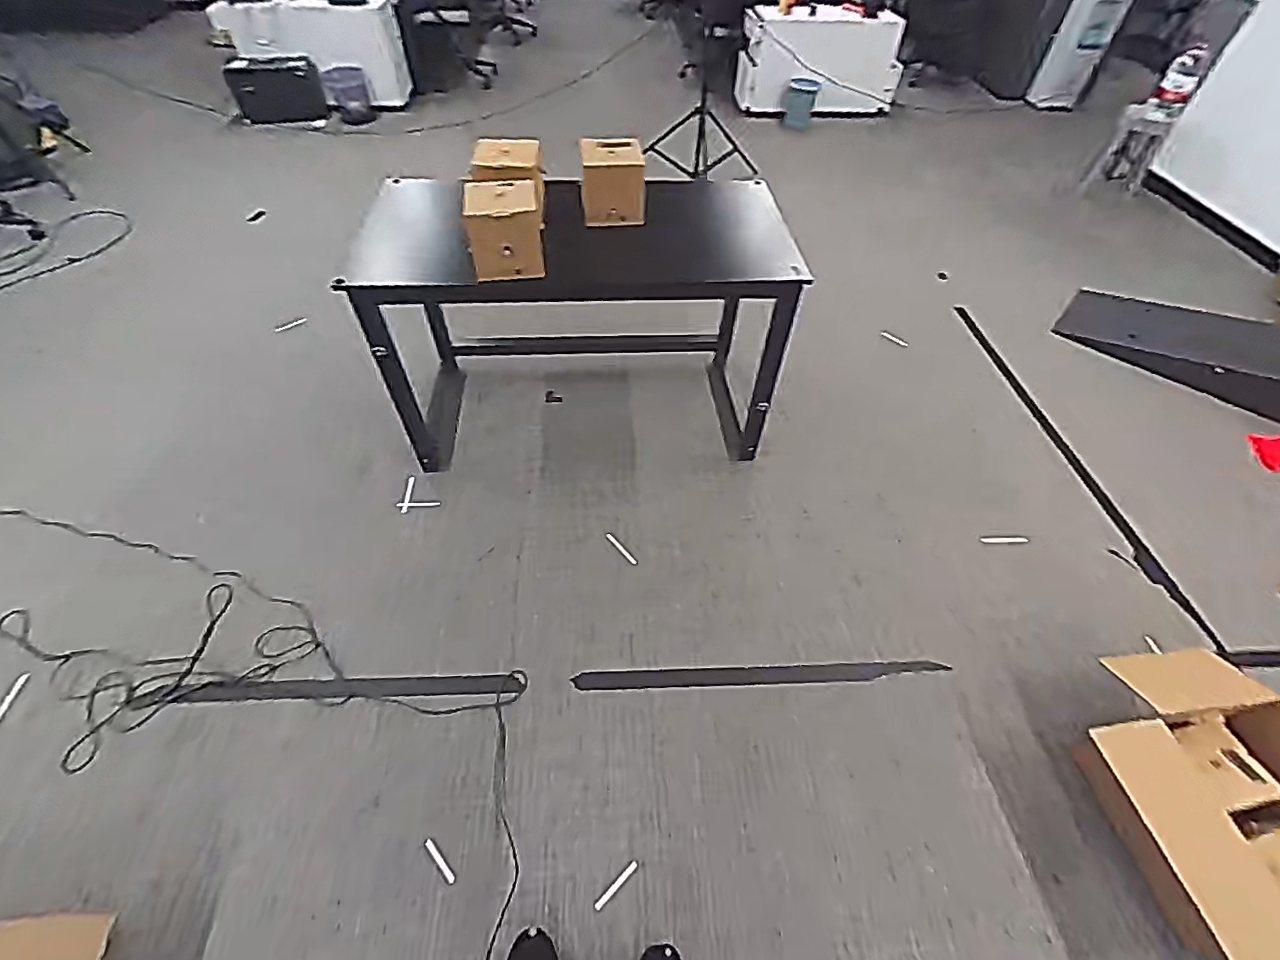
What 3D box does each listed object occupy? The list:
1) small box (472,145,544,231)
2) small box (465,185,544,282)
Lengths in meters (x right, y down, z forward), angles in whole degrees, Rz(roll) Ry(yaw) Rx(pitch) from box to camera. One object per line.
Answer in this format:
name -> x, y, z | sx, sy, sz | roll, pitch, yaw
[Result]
small box -> -0.365, -0.822, 1.530 | 0.168, 0.176, 0.179 | -1, 51, -3
small box -> -0.336, -0.613, 1.359 | 0.168, 0.176, 0.179 | -7, 51, -8
